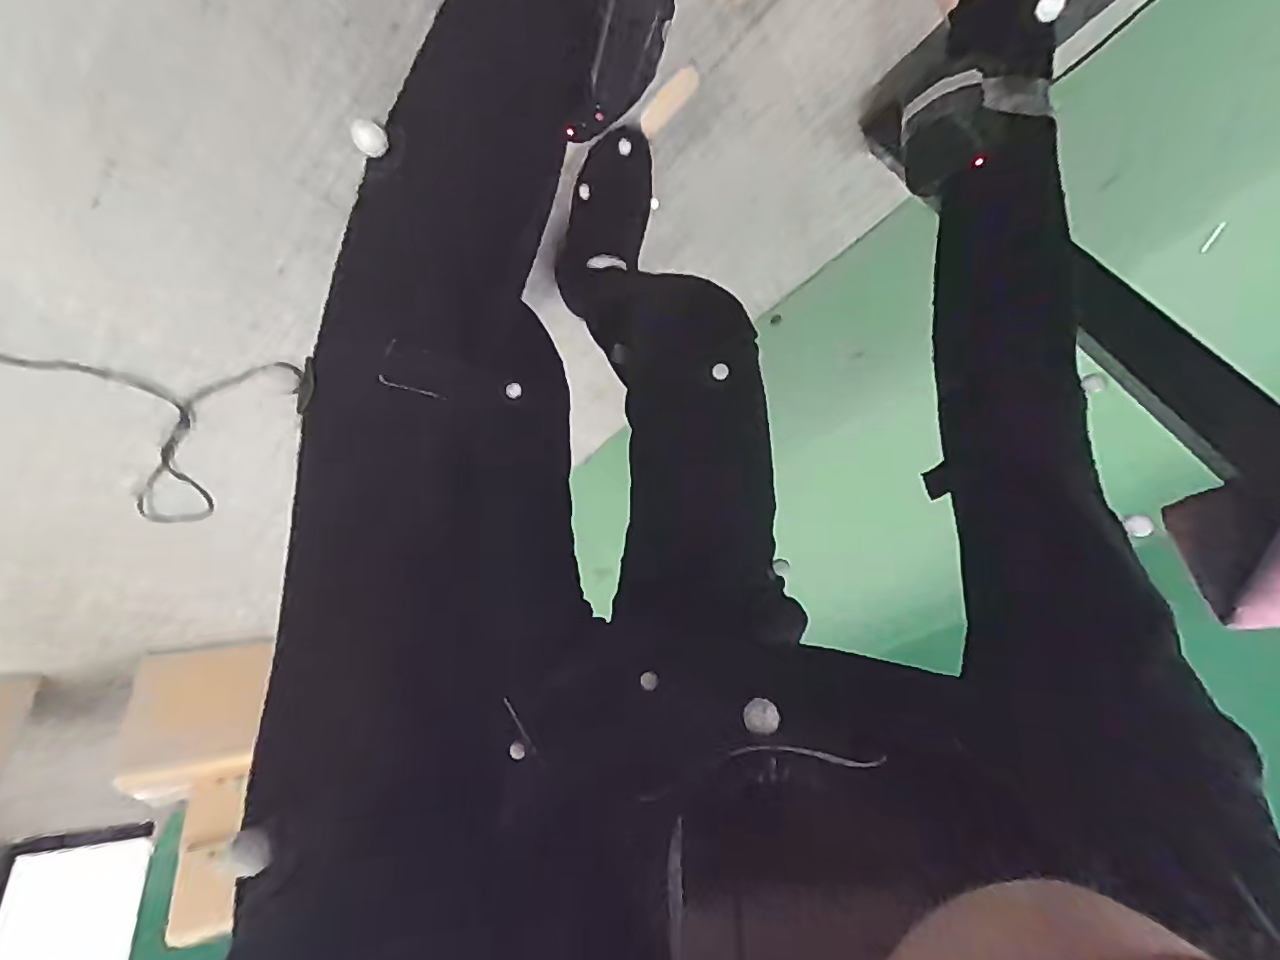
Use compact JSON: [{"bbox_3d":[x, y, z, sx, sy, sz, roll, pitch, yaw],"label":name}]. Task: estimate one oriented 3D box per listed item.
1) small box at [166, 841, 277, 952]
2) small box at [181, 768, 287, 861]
[{"bbox_3d":[-0.966,0.970,1.266,0.168,0.176,0.179,-1,141,-25],"label":"small box"},{"bbox_3d":[-1.013,0.849,1.367,0.168,0.176,0.179,-4,143,-21],"label":"small box"}]
